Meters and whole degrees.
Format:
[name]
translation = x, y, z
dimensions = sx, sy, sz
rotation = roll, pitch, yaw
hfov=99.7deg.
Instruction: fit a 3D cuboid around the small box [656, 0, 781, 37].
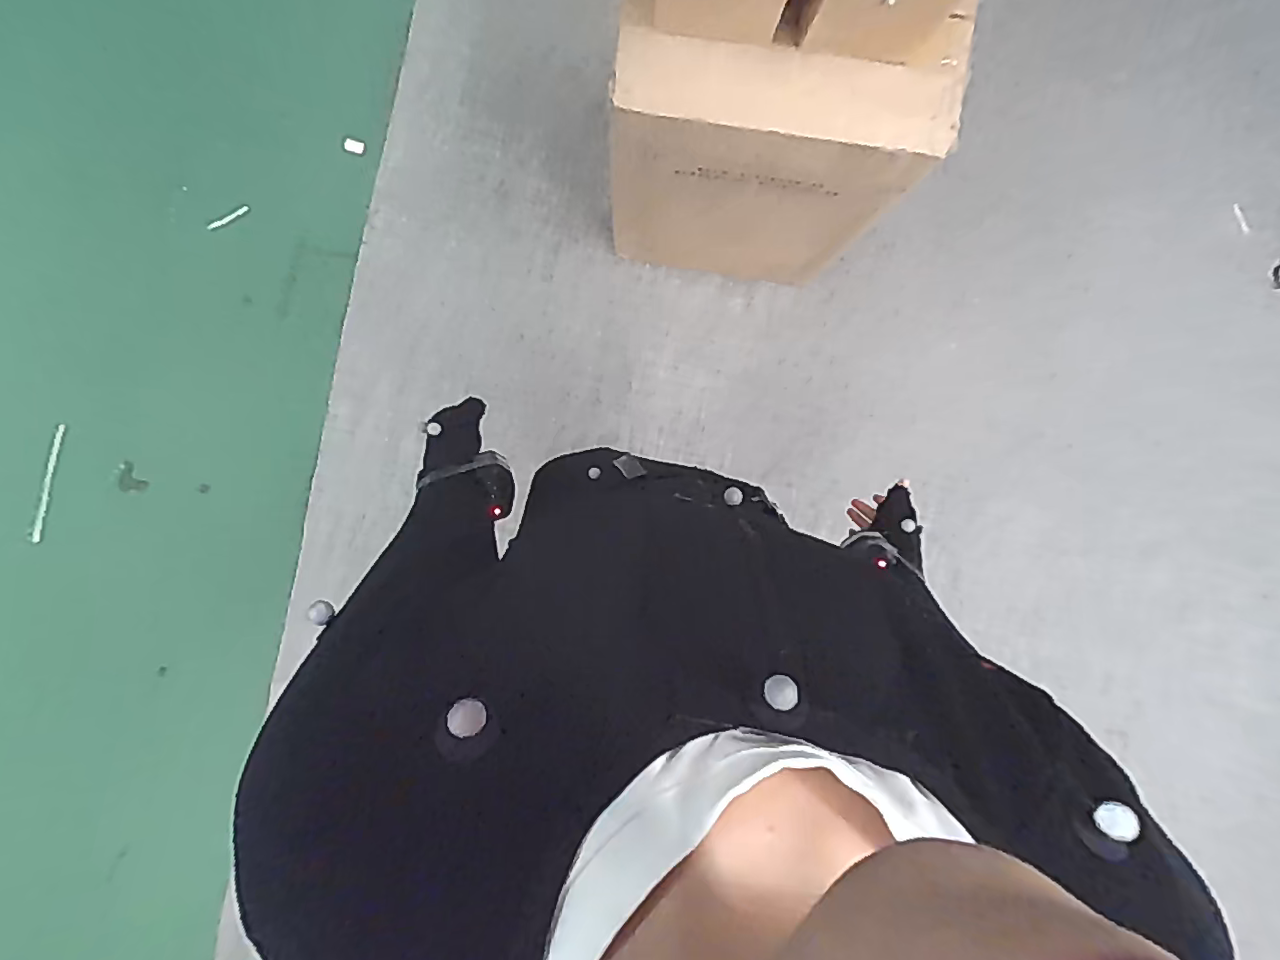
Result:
[small box]
translation = 0.117, -0.733, 0.714
dimensions = 0.179, 0.176, 0.168
rotation = 6, 97, -3
